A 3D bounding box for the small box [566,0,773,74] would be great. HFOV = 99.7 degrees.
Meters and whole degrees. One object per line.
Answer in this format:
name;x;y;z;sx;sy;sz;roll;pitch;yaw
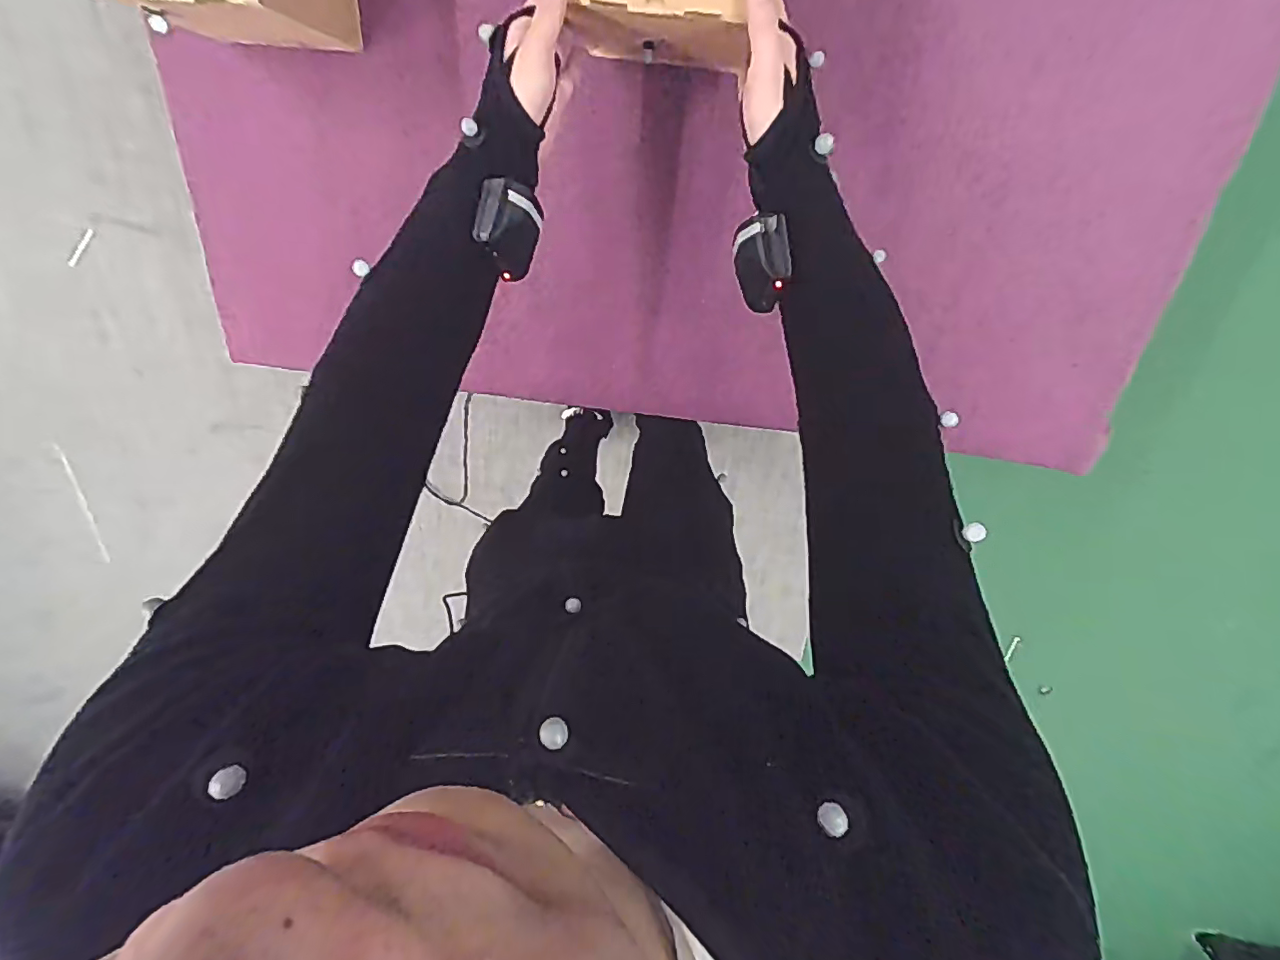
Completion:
small box;0.033;-0.468;0.446;0.168;0.176;0.179;8;118;1
